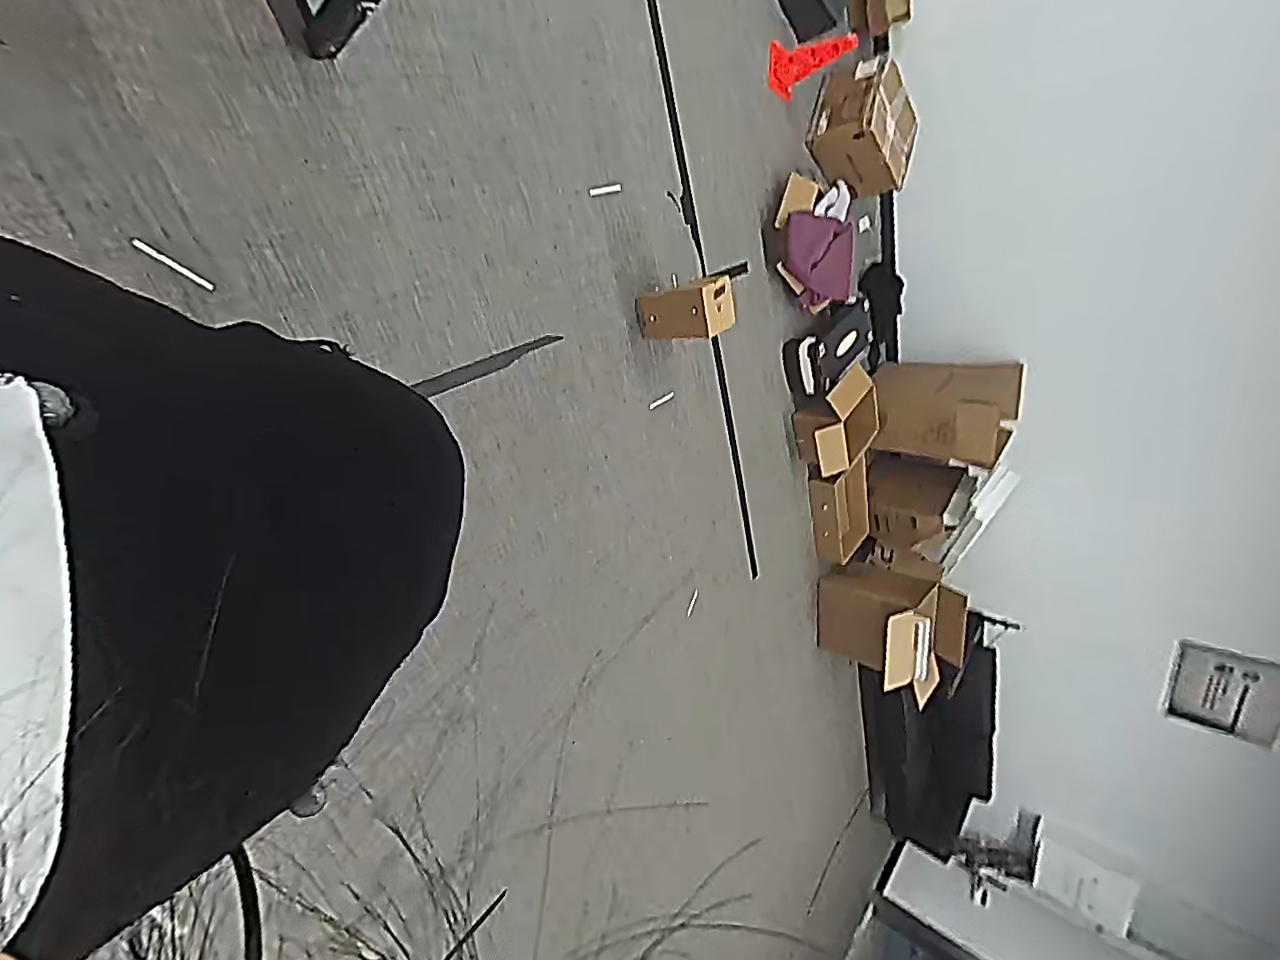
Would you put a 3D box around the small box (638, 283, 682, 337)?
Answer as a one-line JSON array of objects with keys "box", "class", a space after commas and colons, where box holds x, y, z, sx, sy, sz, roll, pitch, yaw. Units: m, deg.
[{"box": [0.111, -0.654, 2.080, 0.179, 0.176, 0.168, -33, 121, -36], "class": "small box"}]

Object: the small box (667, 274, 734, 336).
[{"box": [0.216, -0.630, 1.953, 0.168, 0.176, 0.179, -35, 123, -35], "class": "small box"}]
